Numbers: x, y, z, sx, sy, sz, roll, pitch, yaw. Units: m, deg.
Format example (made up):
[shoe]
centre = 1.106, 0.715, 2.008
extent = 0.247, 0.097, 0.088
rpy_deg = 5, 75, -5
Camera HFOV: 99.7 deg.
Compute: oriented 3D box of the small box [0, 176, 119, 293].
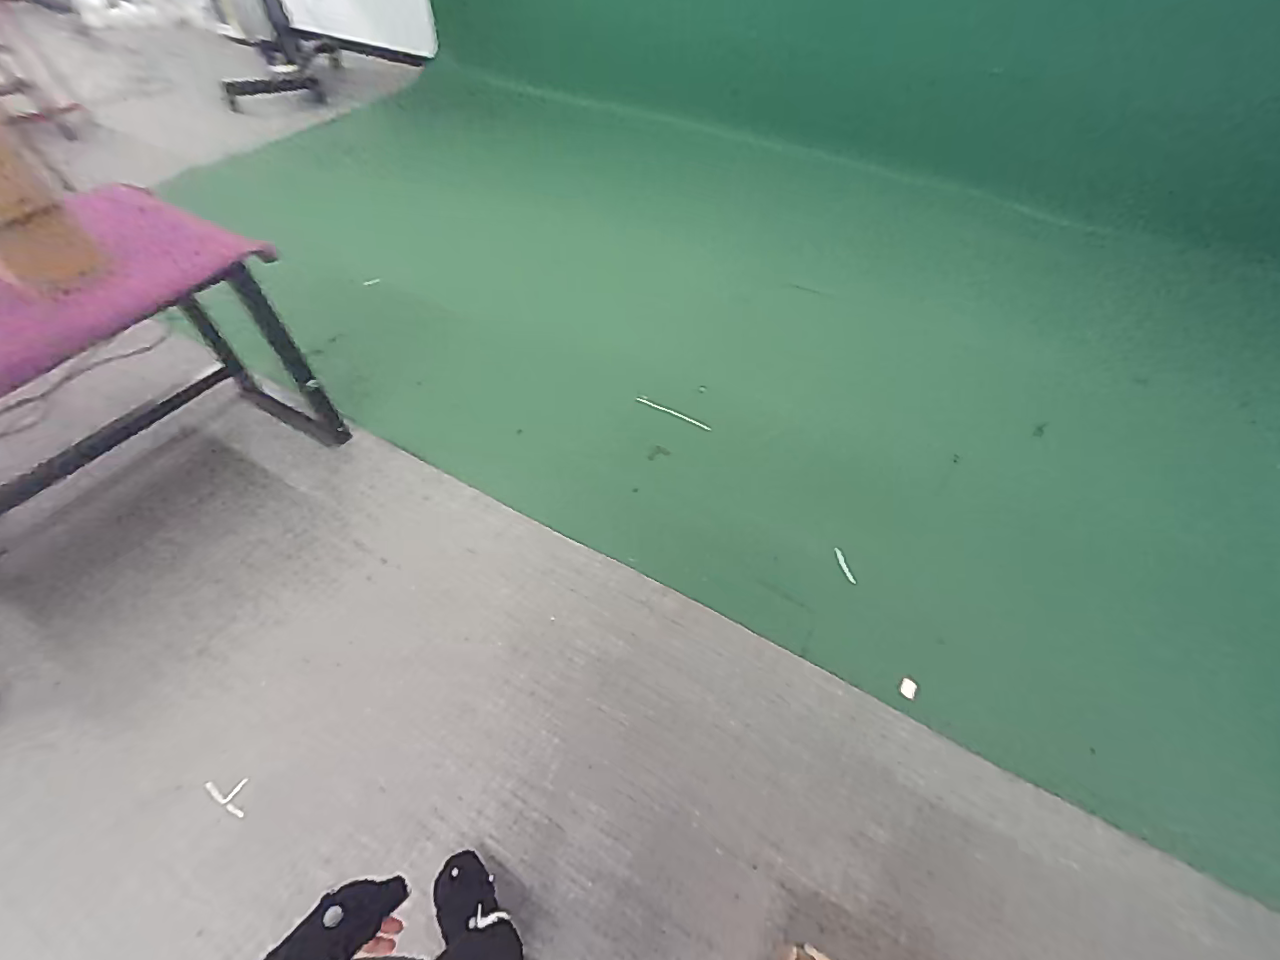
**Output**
[small box]
centre = -1.341, -0.544, 1.210
extent = 0.179, 0.176, 0.168
rpy_deg = 30, 56, 20
